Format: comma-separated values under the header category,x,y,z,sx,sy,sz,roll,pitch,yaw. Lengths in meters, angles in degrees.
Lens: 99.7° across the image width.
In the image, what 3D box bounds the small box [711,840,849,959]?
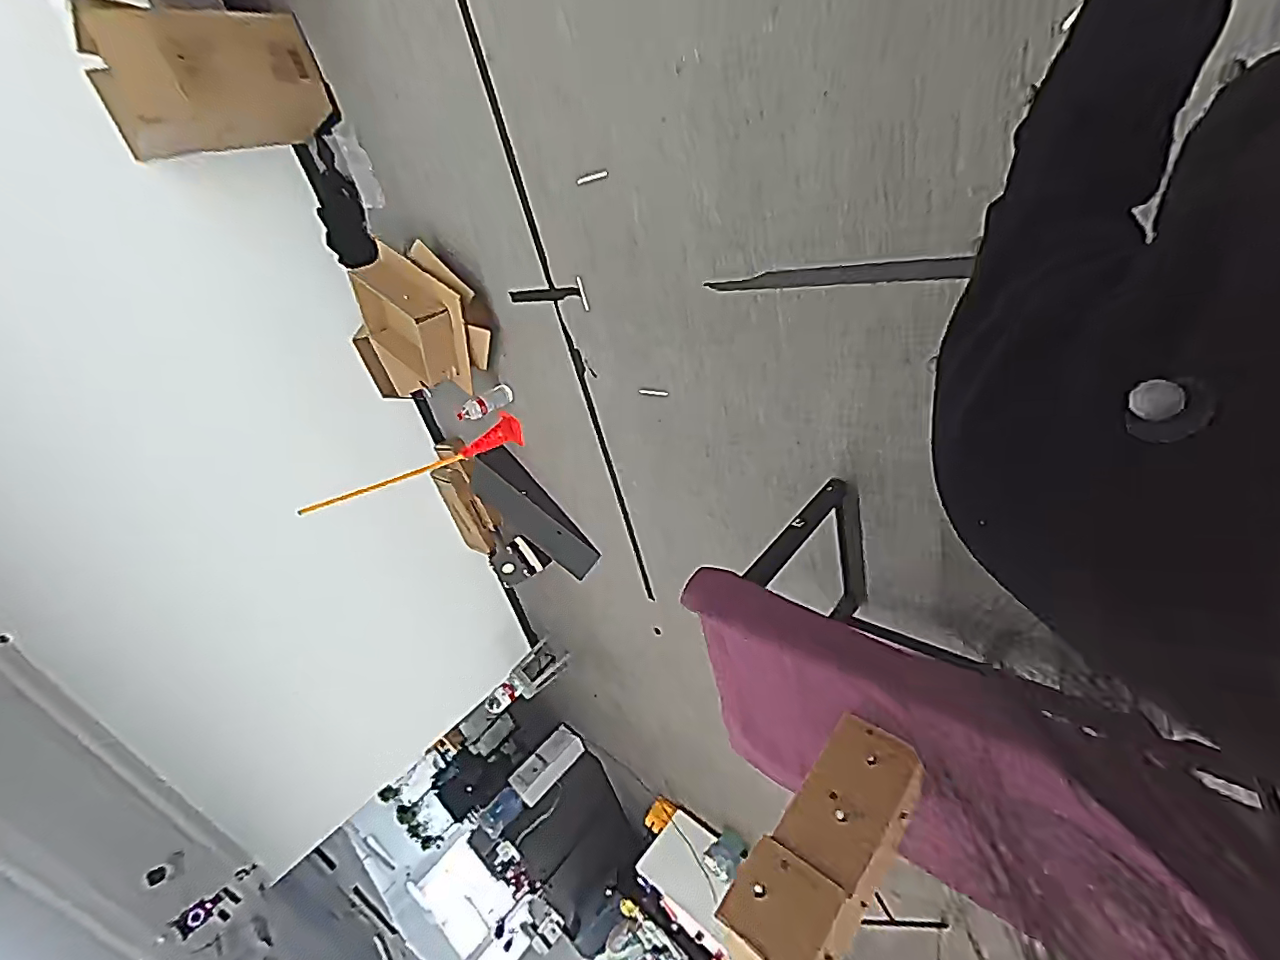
category,x,y,z,sx,sy,sz,roll,pitch,yaw
small box,0.252,0.791,0.954,0.168,0.176,0.179,15,131,43

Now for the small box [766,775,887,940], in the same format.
category,x,y,z,sx,sy,sz,roll,pitch,yaw
small box,0.365,0.729,1.054,0.168,0.176,0.179,17,131,40

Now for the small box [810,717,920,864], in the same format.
category,x,y,z,sx,sy,sz,roll,pitch,yaw
small box,0.475,0.645,1.143,0.168,0.176,0.179,18,133,41
